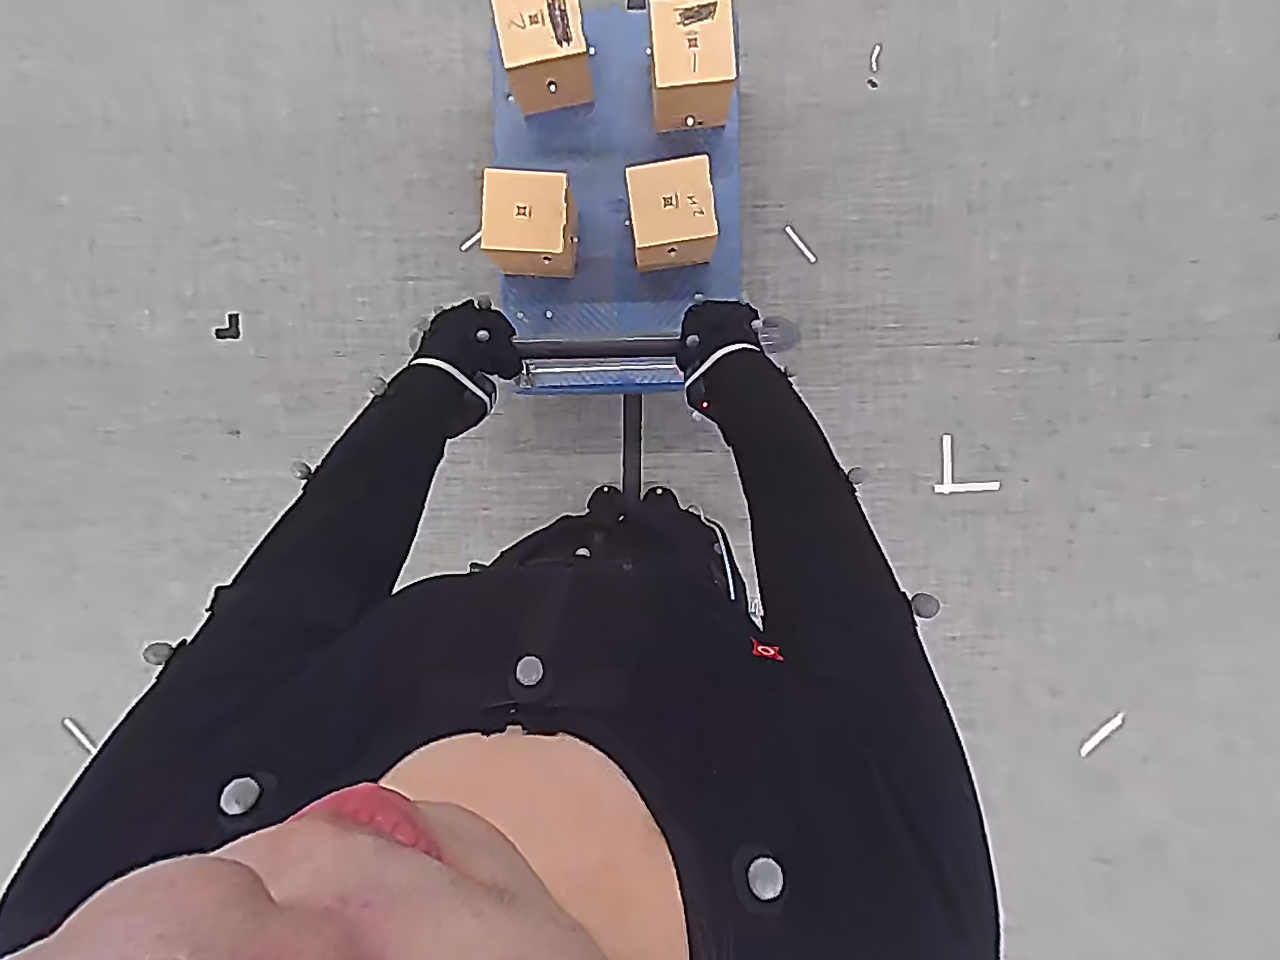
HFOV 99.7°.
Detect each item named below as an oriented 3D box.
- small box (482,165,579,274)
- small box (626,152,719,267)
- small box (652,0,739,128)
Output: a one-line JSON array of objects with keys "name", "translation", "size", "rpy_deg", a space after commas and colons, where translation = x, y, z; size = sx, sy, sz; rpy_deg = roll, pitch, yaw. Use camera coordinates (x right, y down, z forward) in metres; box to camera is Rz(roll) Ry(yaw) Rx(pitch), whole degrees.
[{"name": "small box", "translation": [-0.237, -0.570, 1.202], "size": [0.179, 0.176, 0.168], "rpy_deg": [4, 94, 0]}, {"name": "small box", "translation": [0.071, -0.584, 1.191], "size": [0.179, 0.176, 0.168], "rpy_deg": [-8, 94, 3]}, {"name": "small box", "translation": [0.114, -0.901, 1.165], "size": [0.168, 0.176, 0.179], "rpy_deg": [-5, 95, 2]}]
